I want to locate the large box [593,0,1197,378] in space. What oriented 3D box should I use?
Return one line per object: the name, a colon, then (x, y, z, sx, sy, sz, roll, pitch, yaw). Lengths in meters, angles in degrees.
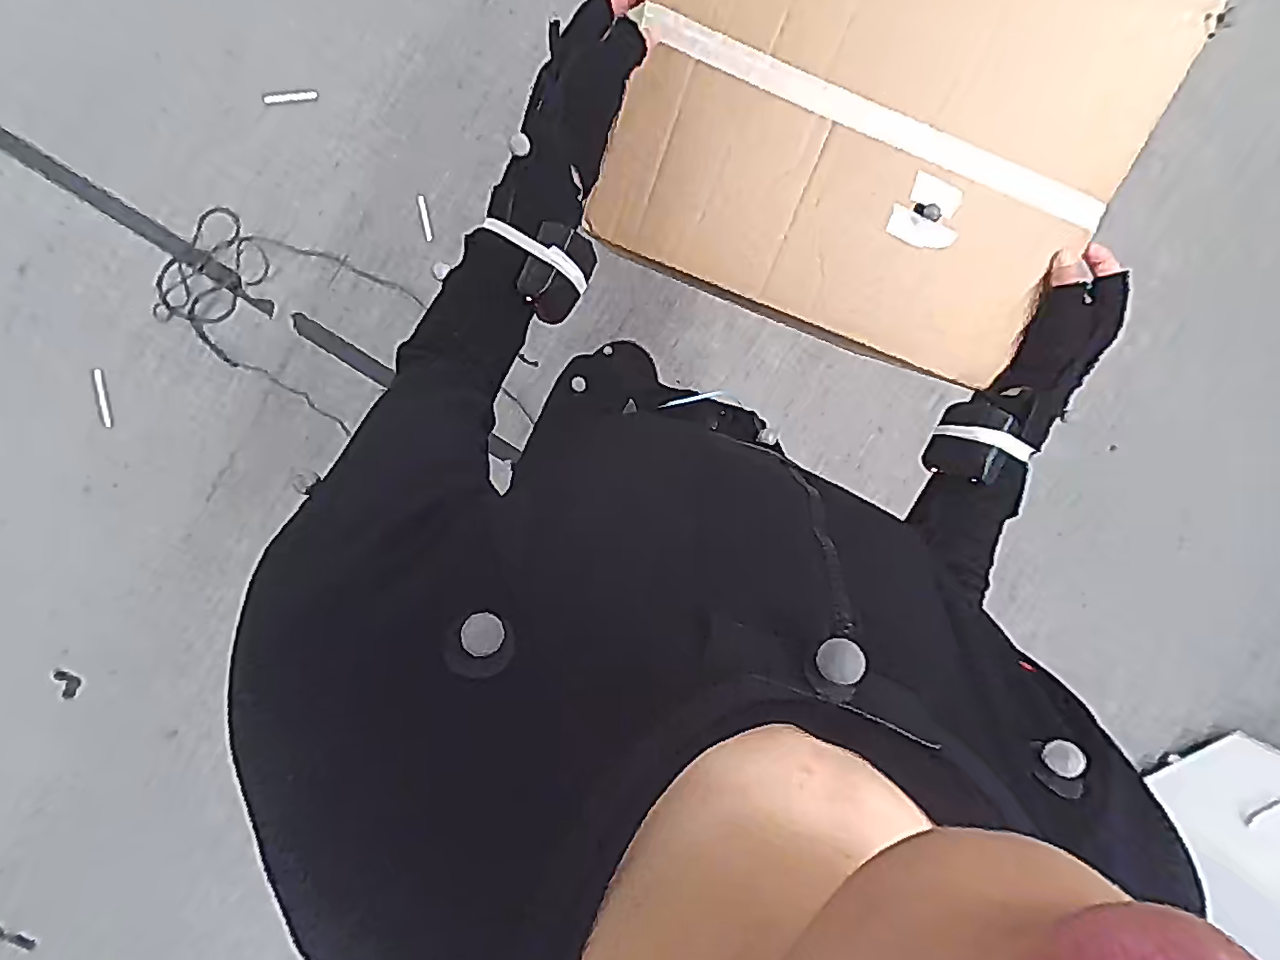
large box: (0.193, -0.342, 0.581, 0.408, 0.320, 0.320, 20, 110, -7)
